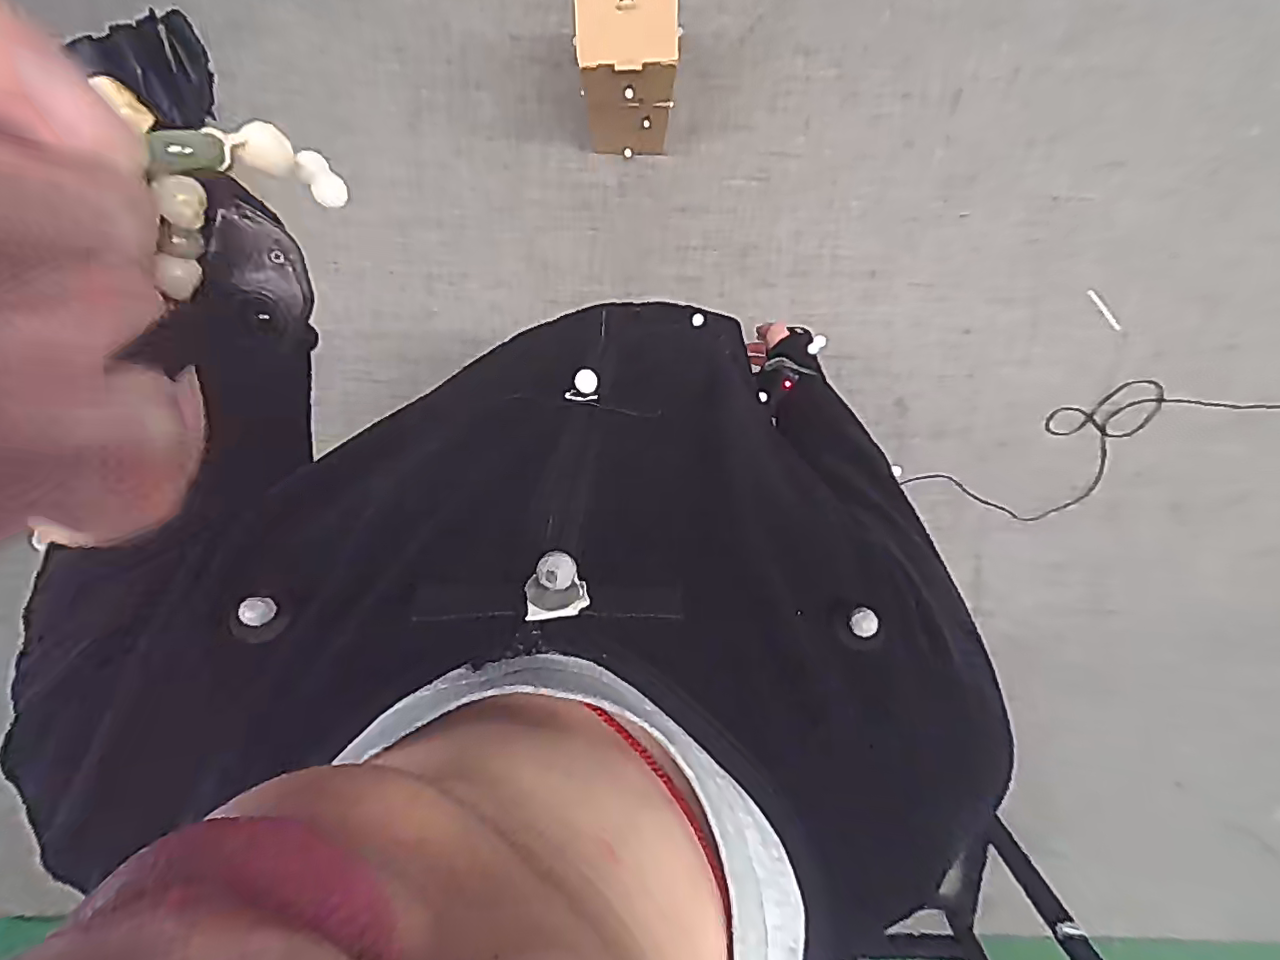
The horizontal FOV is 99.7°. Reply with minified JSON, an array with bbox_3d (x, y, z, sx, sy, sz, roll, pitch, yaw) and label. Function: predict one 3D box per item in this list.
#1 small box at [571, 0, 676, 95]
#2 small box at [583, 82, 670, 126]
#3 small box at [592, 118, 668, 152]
[{"bbox_3d":[-0.024,-0.776,0.913,0.168,0.176,0.179,-2,108,1],"label":"small box"},{"bbox_3d":[-0.023,-0.823,1.069,0.168,0.176,0.179,0,105,0],"label":"small box"},{"bbox_3d":[-0.020,-0.869,1.224,0.168,0.176,0.179,1,107,1],"label":"small box"}]
